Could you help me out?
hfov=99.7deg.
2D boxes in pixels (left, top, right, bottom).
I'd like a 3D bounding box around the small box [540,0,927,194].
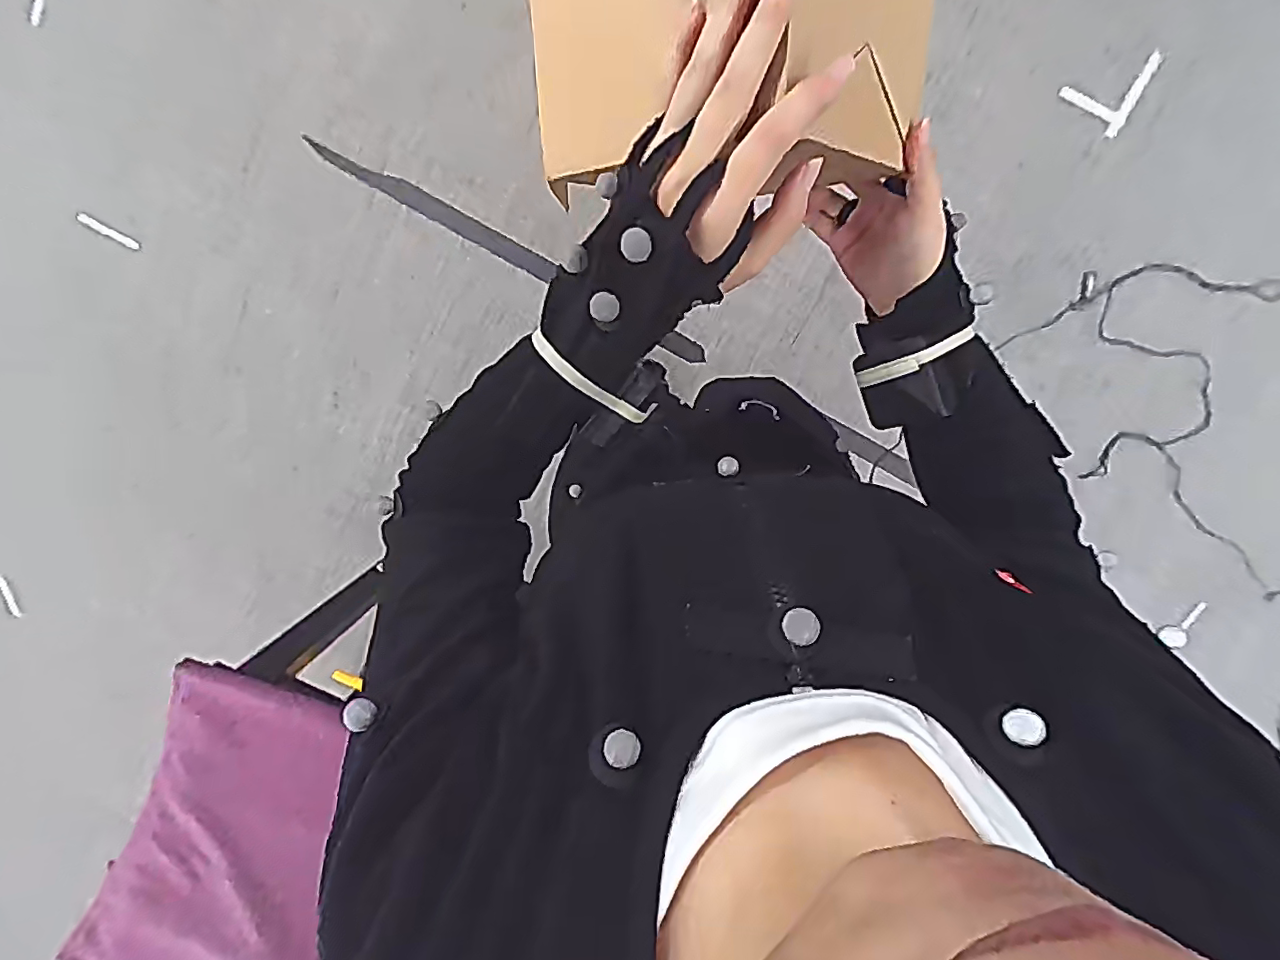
[{"bbox_3d":[0.060,-0.275,0.322,0.176,0.179,0.168,16,117,39],"label":"small box"}]
